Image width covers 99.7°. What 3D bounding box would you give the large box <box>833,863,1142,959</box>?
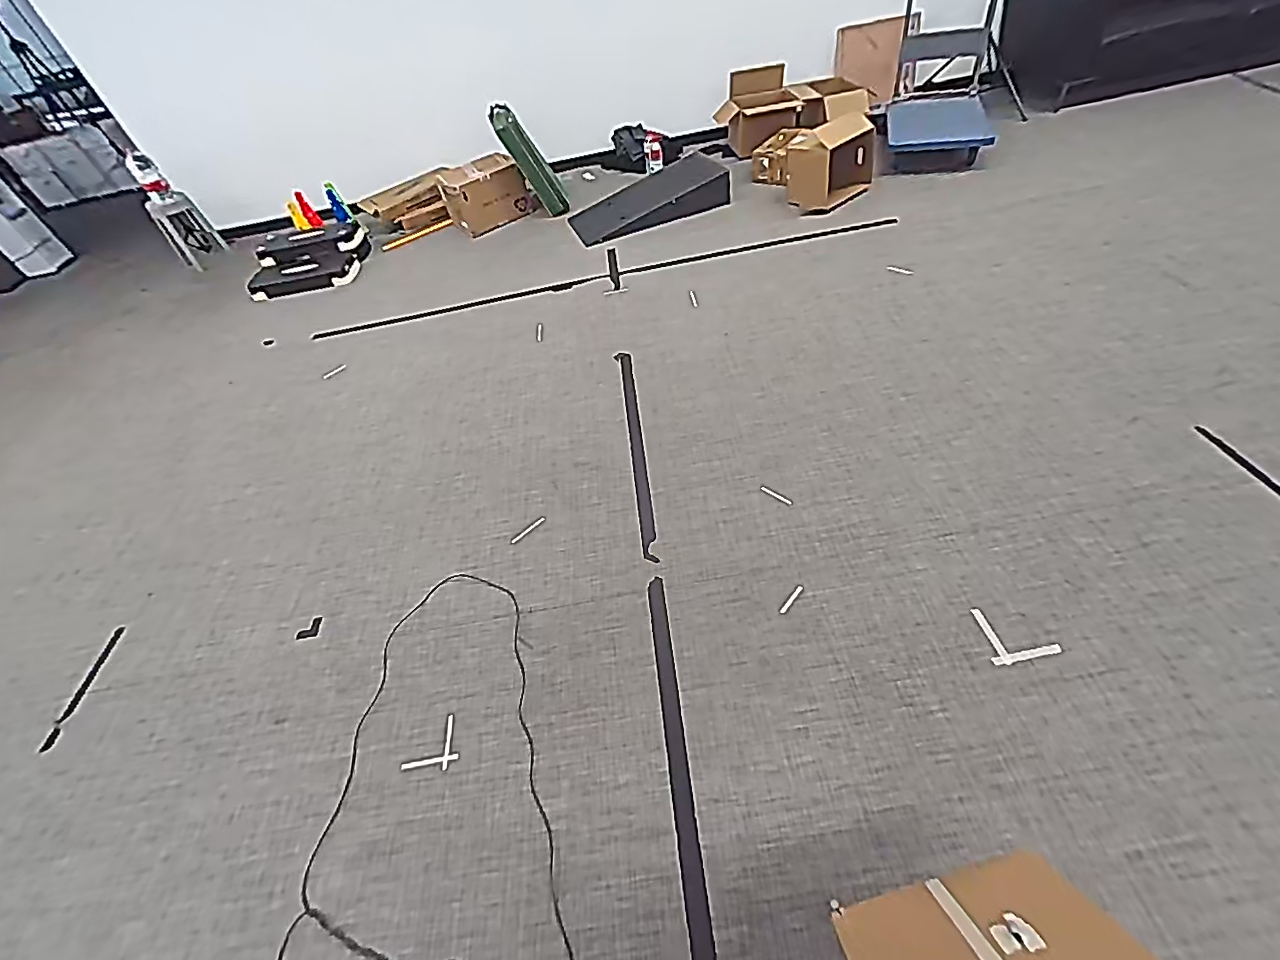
[{"bbox_3d":[0.465,0.724,0.581,0.320,0.408,0.320,-17,81,1],"label":"large box"}]
